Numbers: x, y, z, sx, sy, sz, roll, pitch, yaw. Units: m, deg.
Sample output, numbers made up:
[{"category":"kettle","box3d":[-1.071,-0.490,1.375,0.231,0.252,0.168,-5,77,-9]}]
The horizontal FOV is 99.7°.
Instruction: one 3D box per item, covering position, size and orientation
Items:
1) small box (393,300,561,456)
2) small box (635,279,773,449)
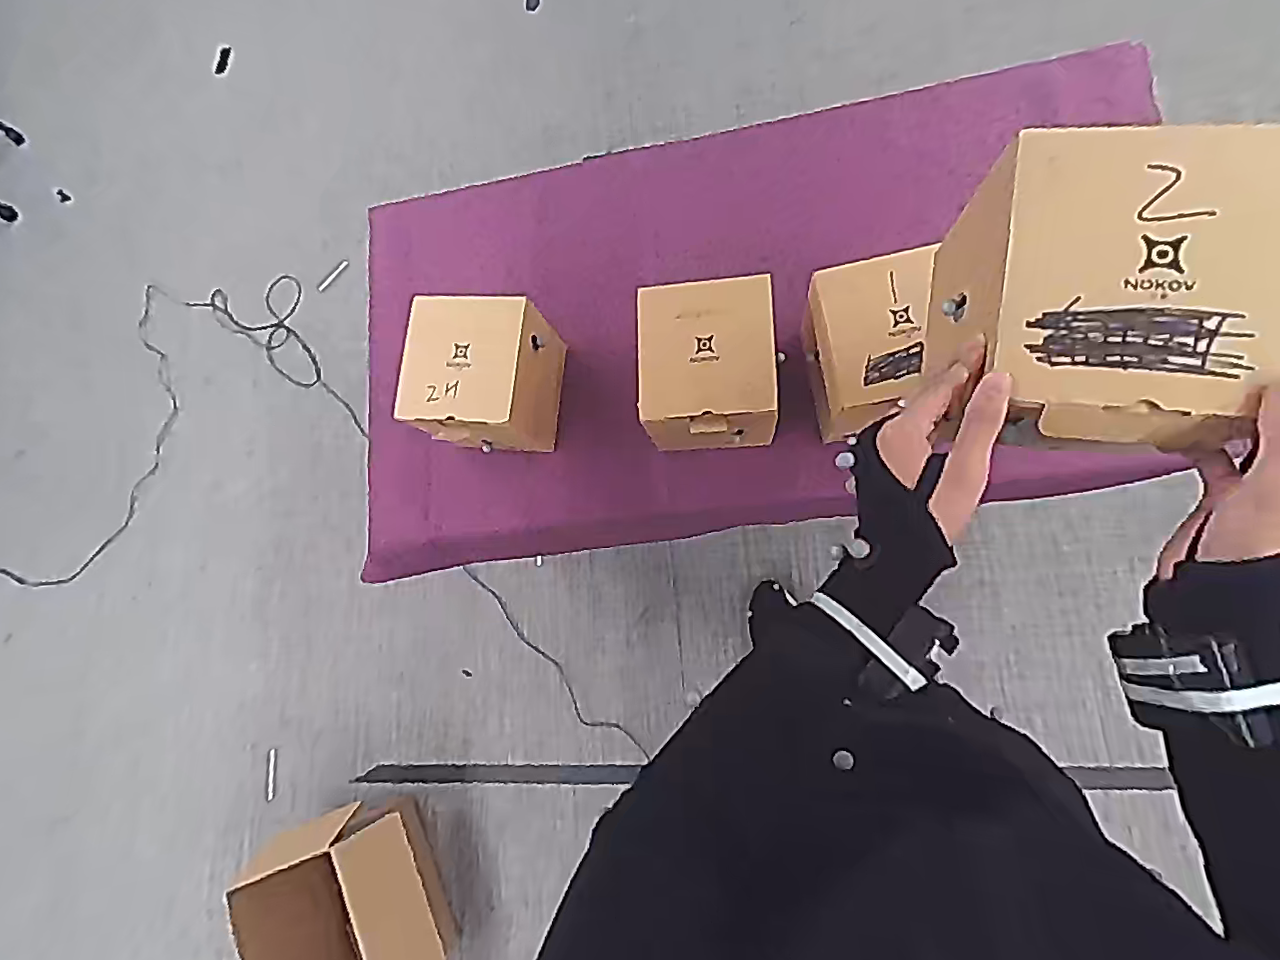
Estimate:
[{"category":"small box","box3d":[-0.223,-0.140,0.783,0.168,0.176,0.179,4,82,12]},{"category":"small box","box3d":[0.089,-0.141,0.727,0.168,0.176,0.179,-3,80,10]}]
